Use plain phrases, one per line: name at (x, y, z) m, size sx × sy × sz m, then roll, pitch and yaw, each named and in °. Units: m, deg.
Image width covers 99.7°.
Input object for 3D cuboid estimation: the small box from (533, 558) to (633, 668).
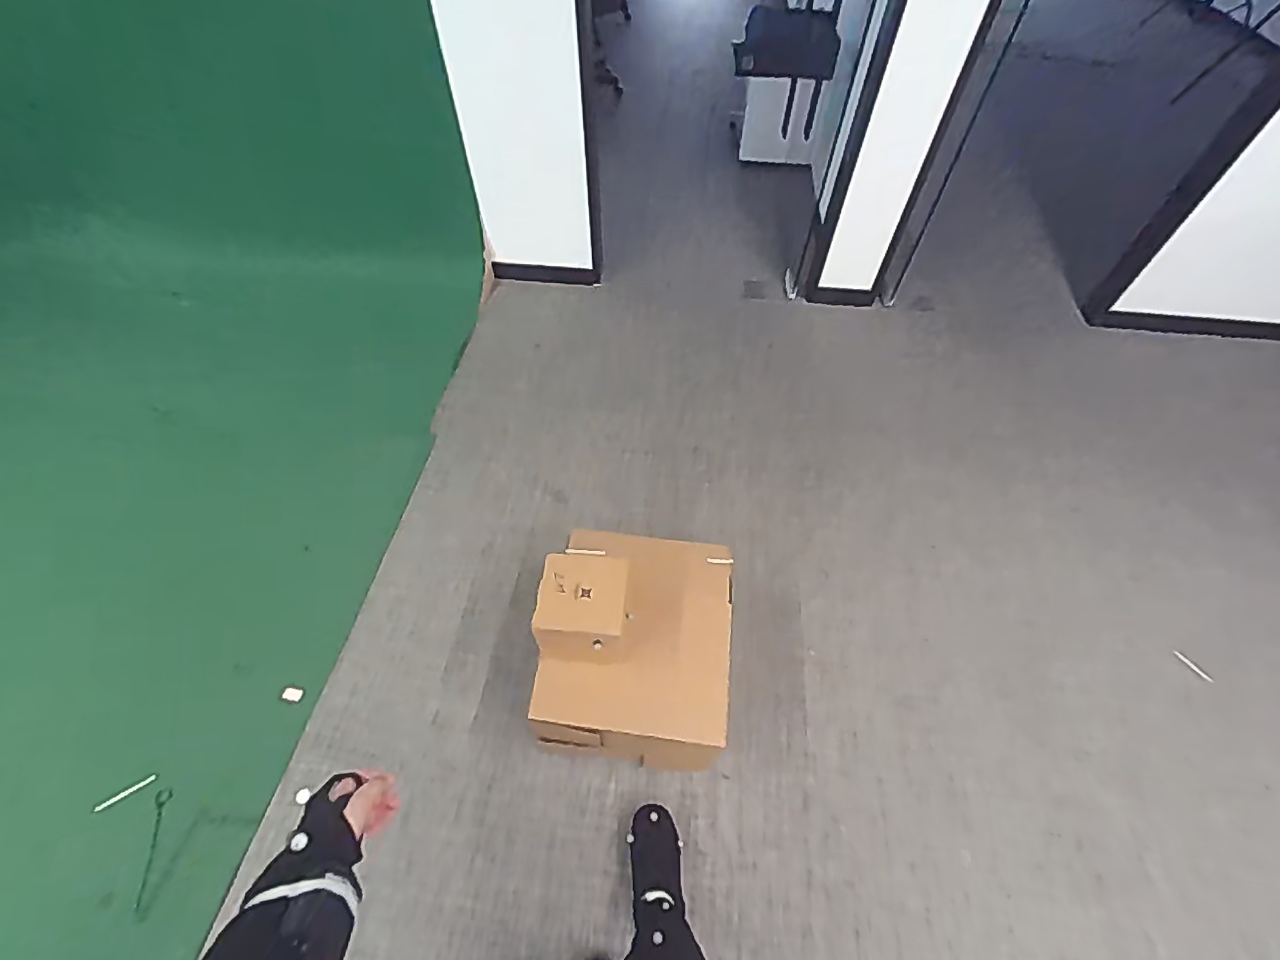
small box at (-0.109, 0.282, 1.130) m, size 0.179 × 0.176 × 0.168 m, roll 4°, pitch 52°, yaw 4°
